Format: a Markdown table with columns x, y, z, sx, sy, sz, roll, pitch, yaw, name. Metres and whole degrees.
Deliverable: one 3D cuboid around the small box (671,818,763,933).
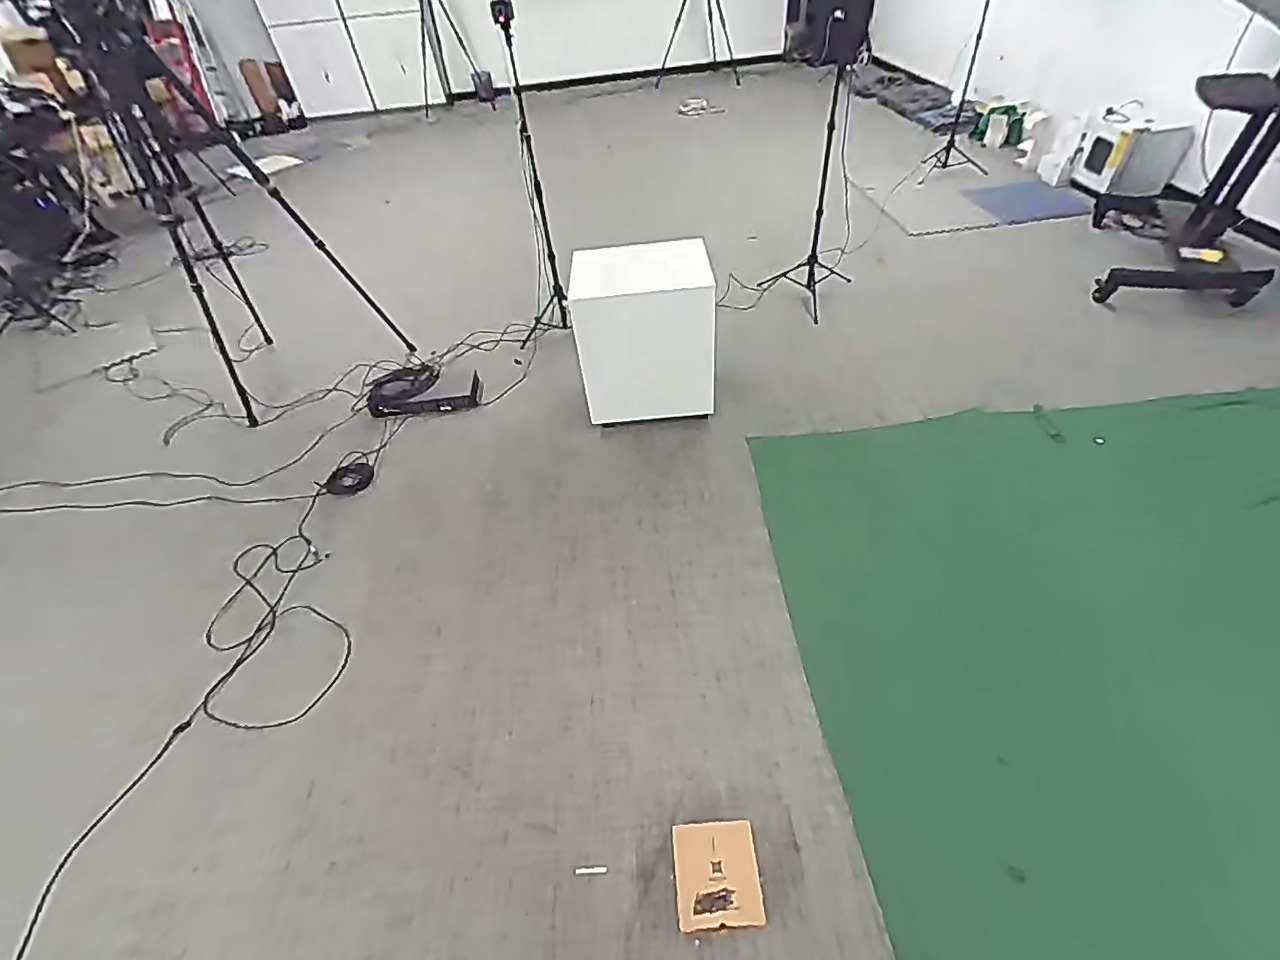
| x | y | z | sx | sy | sz | roll | pitch | yaw | name |
| --- | --- | --- | --- | --- | --- | --- | --- | --- | --- |
| 0.156 | 0.830 | 1.130 | 0.168 | 0.176 | 0.179 | -5 | 45 | 1 | small box |
